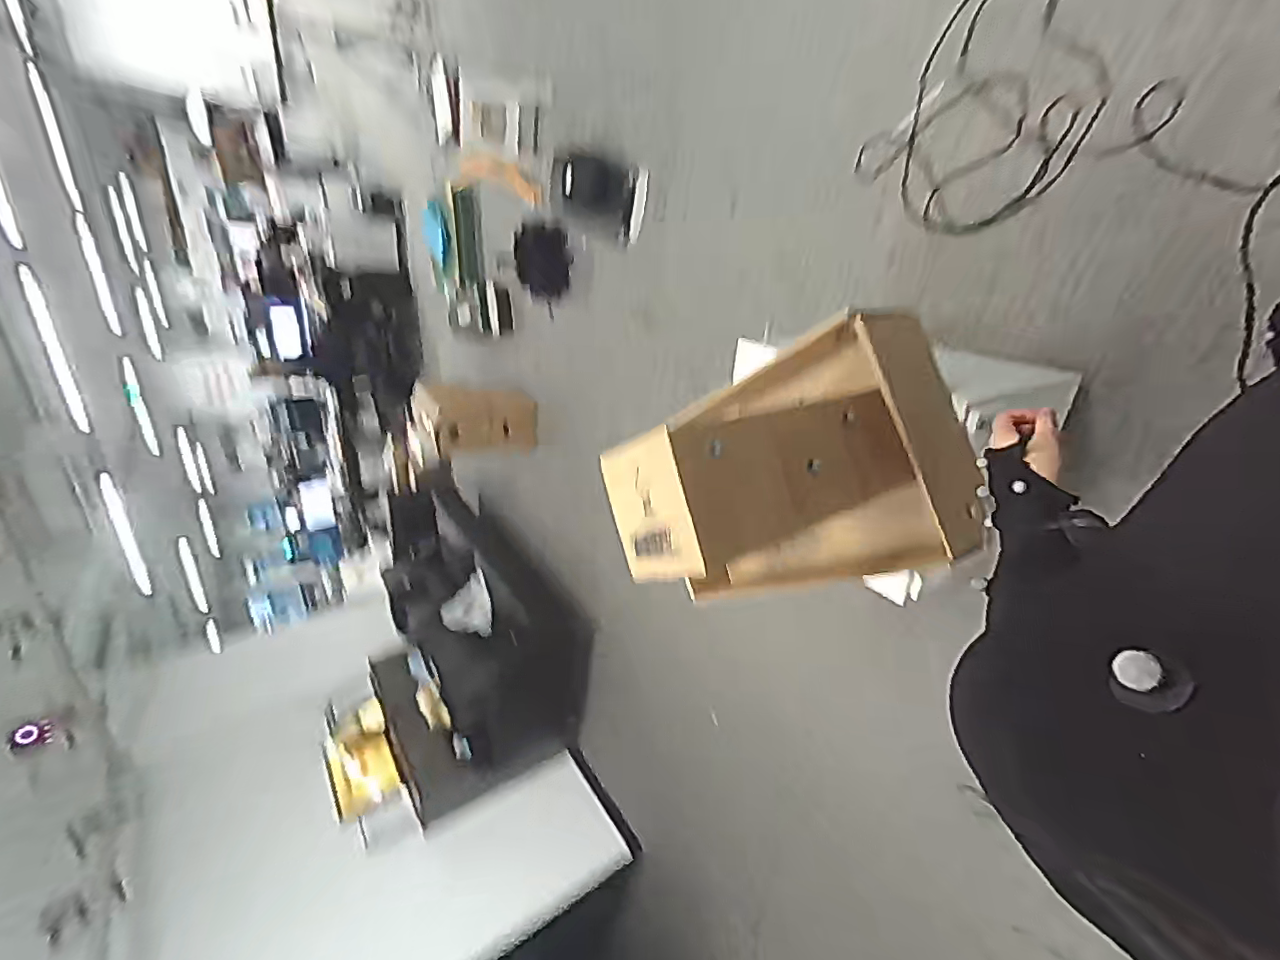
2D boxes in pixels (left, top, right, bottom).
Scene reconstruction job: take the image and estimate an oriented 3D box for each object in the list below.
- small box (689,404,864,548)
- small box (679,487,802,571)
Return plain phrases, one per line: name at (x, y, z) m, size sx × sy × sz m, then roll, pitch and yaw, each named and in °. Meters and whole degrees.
small box at (0.209, -0.010, 0.837) m, size 0.168 × 0.176 × 0.179 m, roll -26°, pitch 81°, yaw 56°
small box at (0.220, 0.070, 1.136) m, size 0.179 × 0.176 × 0.168 m, roll -41°, pitch 67°, yaw 50°
